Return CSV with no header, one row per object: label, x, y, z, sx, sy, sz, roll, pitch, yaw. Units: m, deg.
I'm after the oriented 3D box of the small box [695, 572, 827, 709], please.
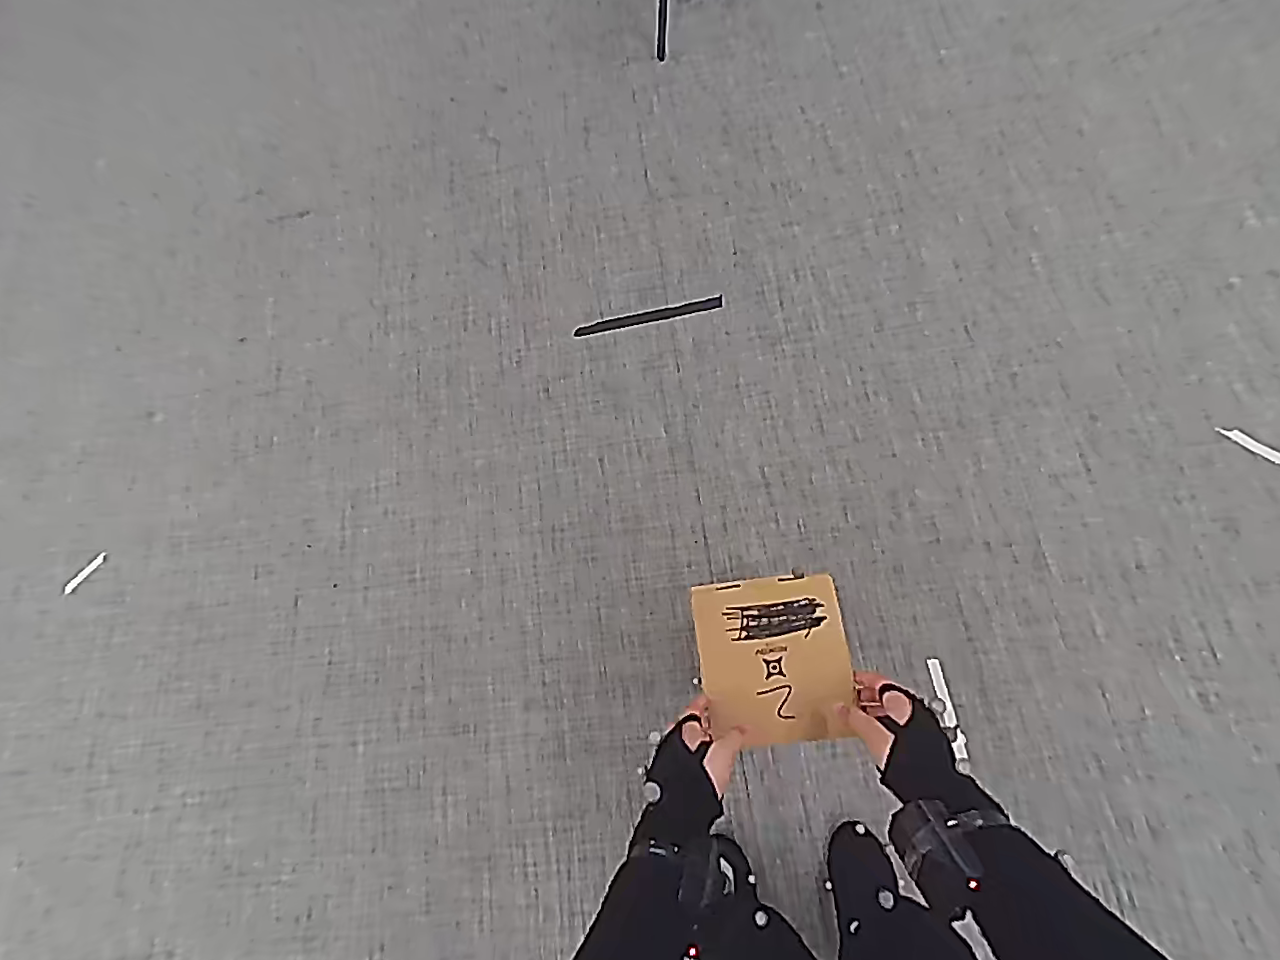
small box,0.177,0.248,0.842,0.168,0.176,0.179,-8,73,6
